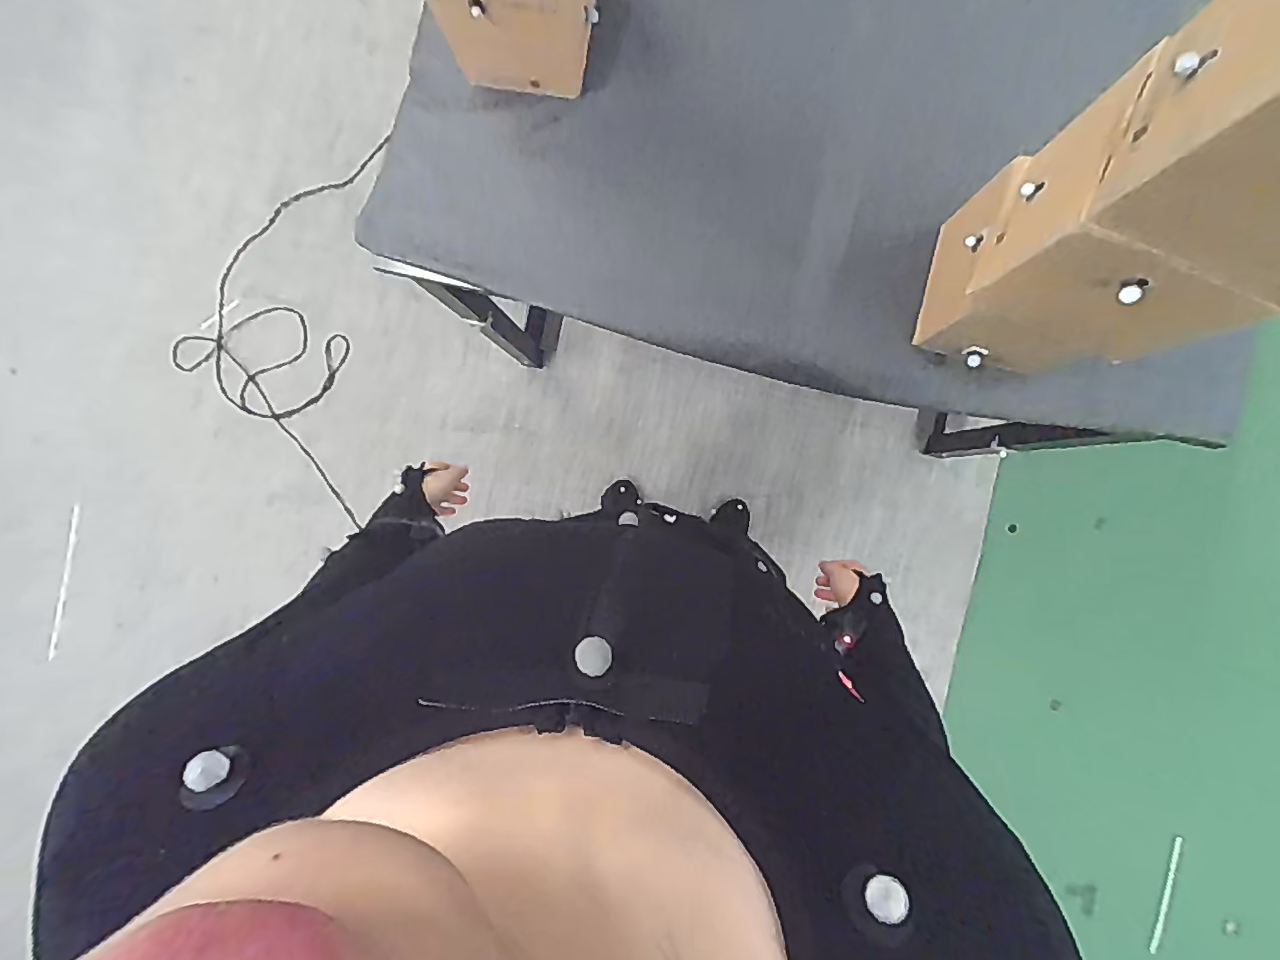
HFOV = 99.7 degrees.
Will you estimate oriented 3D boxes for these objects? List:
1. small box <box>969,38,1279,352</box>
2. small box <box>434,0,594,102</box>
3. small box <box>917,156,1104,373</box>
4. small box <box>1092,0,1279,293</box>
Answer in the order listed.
[{"bbox_3d":[0.454,-0.234,0.494,0.179,0.176,0.168,24,90,4],"label":"small box"},{"bbox_3d":[-0.157,-0.634,0.691,0.168,0.176,0.179,9,91,3],"label":"small box"},{"bbox_3d":[0.466,-0.246,0.656,0.168,0.176,0.179,14,90,4],"label":"small box"},{"bbox_3d":[0.449,-0.238,0.329,0.179,0.176,0.168,26,90,4],"label":"small box"}]
